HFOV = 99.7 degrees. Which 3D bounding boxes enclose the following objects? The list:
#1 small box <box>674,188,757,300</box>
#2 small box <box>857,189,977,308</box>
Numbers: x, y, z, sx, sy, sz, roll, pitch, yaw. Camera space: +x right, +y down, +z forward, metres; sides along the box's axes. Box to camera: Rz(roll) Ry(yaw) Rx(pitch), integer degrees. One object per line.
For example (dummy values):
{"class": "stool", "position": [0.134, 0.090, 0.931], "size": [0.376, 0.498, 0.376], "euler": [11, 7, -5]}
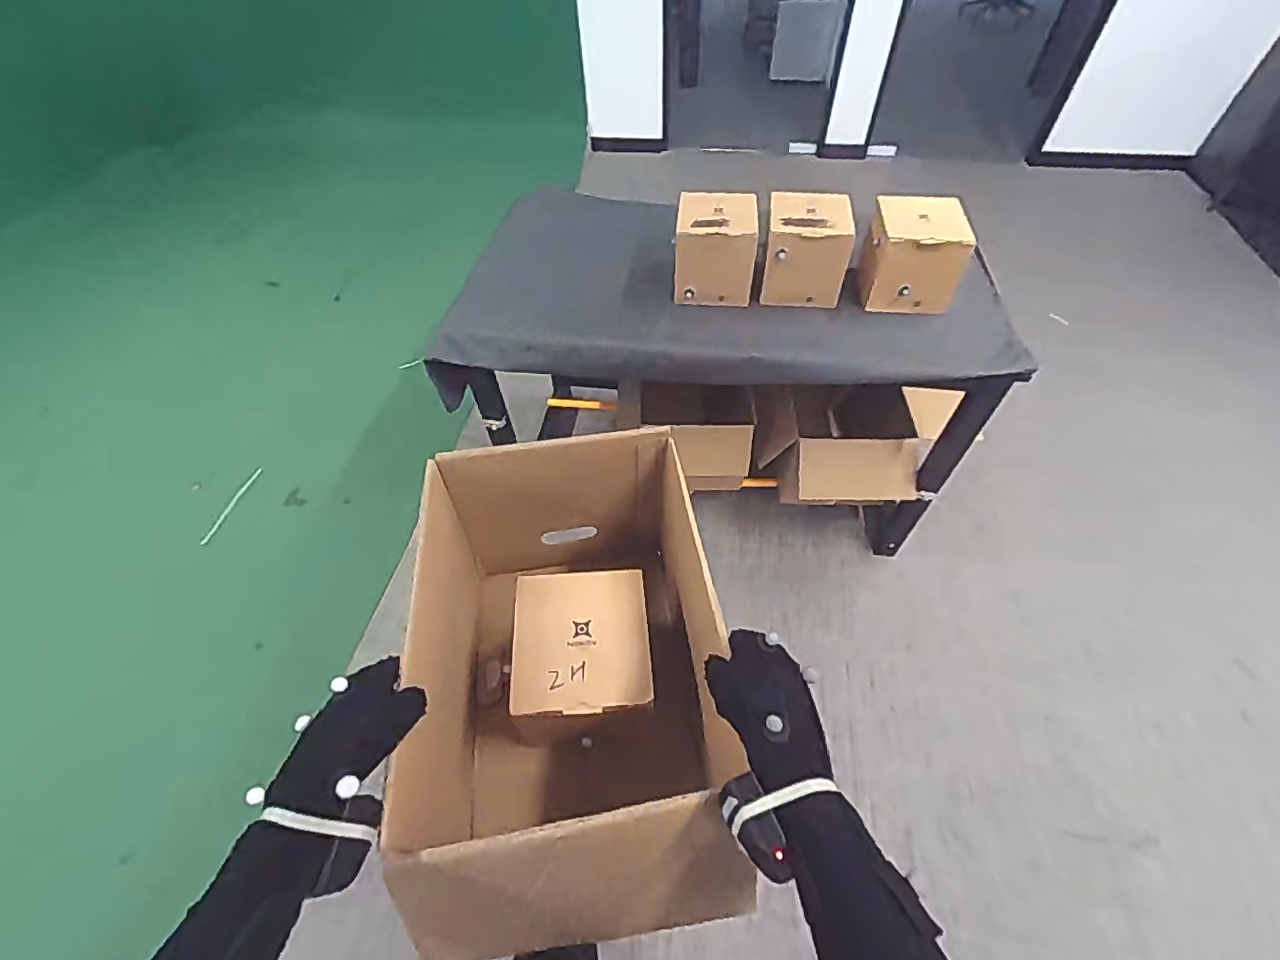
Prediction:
{"class": "small box", "position": [0.163, -0.513, 1.183], "size": [0.168, 0.176, 0.179], "euler": [4, 53, 5]}
{"class": "small box", "position": [0.573, -0.490, 1.147], "size": [0.168, 0.176, 0.179], "euler": [4, 54, 6]}
